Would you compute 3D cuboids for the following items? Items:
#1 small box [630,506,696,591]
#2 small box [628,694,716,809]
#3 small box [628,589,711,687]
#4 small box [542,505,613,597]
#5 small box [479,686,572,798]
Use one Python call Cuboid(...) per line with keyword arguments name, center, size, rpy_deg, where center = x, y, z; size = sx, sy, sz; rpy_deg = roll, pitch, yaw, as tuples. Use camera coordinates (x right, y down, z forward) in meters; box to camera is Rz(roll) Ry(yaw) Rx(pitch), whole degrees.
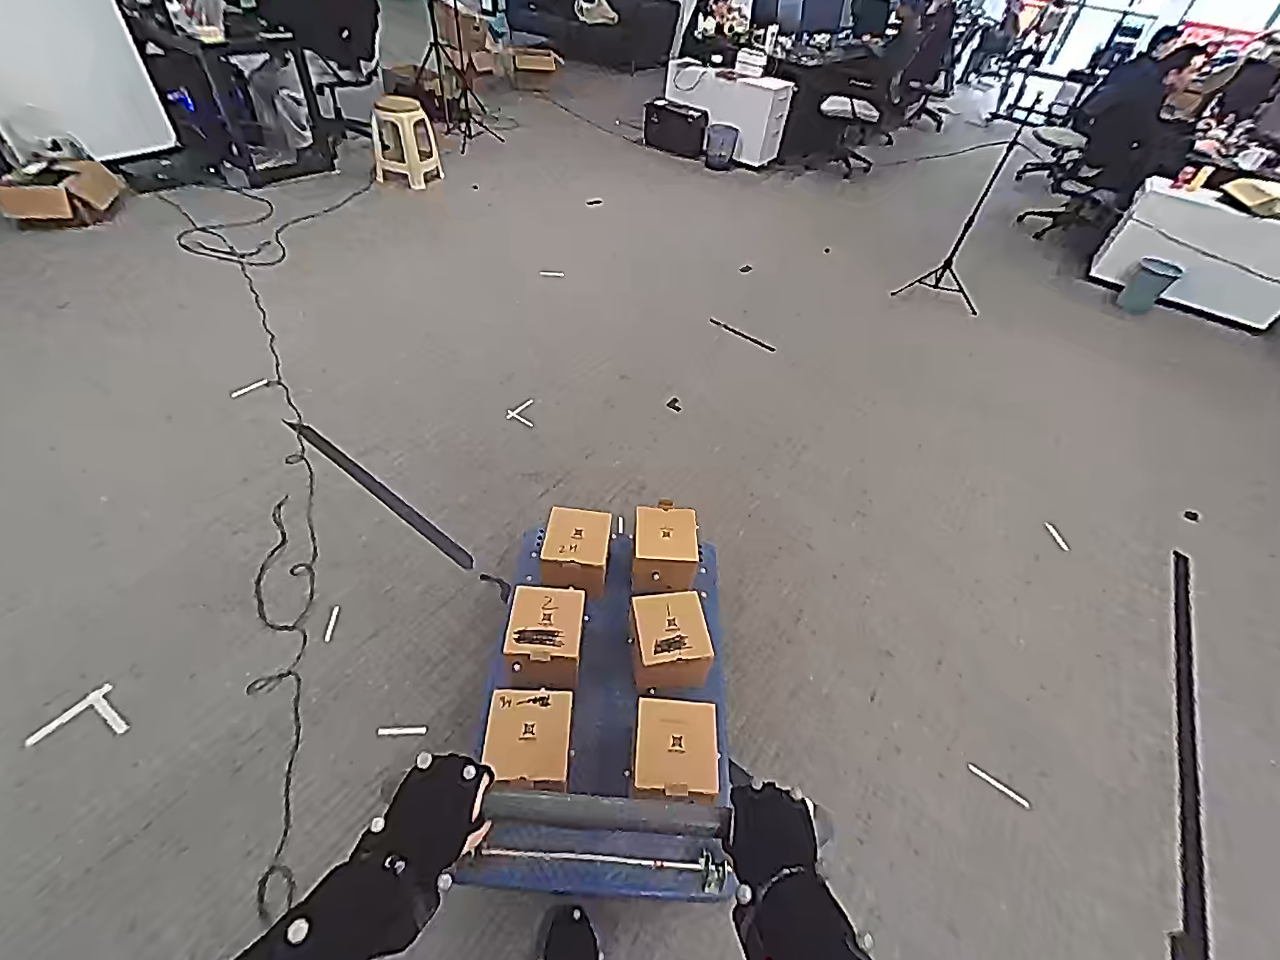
Cuboid(name="small box", center=(0.061, 0.195, 1.515), size=(0.168, 0.176, 0.179), rpy_deg=(4, 47, -4))
Cuboid(name="small box", center=(0.065, 0.582, 1.152), size=(0.168, 0.176, 0.179), rpy_deg=(7, 46, -2))
Cuboid(name="small box", center=(0.065, 0.393, 1.328), size=(0.168, 0.176, 0.179), rpy_deg=(-3, 47, -10))
Cuboid(name="small box", center=(-0.171, 0.196, 1.479), size=(0.168, 0.176, 0.179), rpy_deg=(7, 47, -1))
Cuboid(name="small box", center=(-0.231, 0.553, 1.136), size=(0.168, 0.176, 0.179), rpy_deg=(4, 47, -5))
